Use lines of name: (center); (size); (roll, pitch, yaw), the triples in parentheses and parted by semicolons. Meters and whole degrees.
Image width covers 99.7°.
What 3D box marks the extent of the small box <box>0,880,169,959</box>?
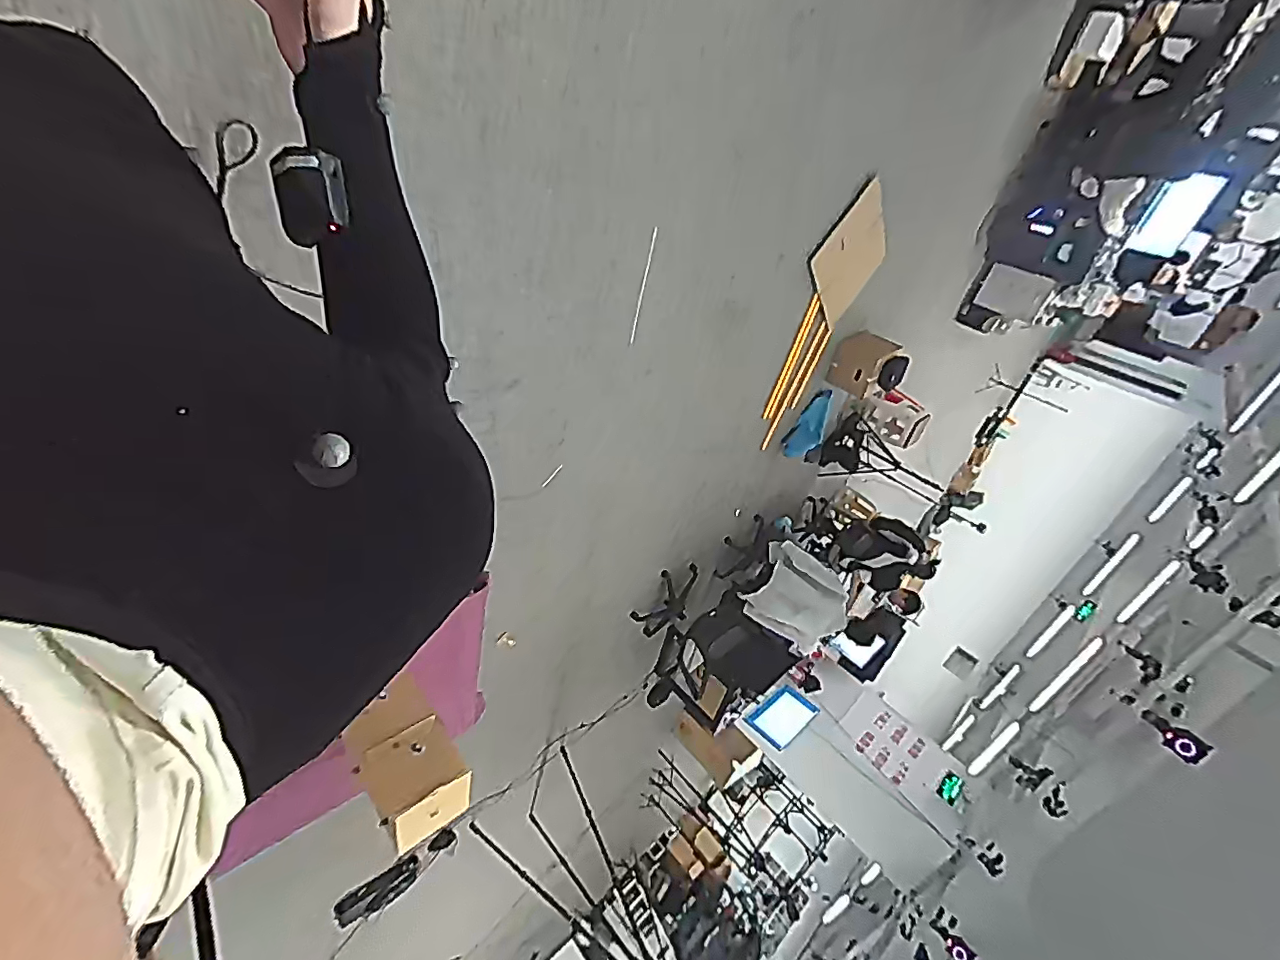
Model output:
small box: (-0.871, 0.786, 0.854); (0.168, 0.176, 0.179); (-18, 134, -41)

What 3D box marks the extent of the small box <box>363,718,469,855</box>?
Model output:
small box: (-0.499, 0.675, 1.207); (0.168, 0.176, 0.179); (-19, 134, -40)

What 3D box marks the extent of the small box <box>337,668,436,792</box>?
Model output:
small box: (-0.606, 0.590, 1.295); (0.168, 0.176, 0.179); (-18, 134, -41)
